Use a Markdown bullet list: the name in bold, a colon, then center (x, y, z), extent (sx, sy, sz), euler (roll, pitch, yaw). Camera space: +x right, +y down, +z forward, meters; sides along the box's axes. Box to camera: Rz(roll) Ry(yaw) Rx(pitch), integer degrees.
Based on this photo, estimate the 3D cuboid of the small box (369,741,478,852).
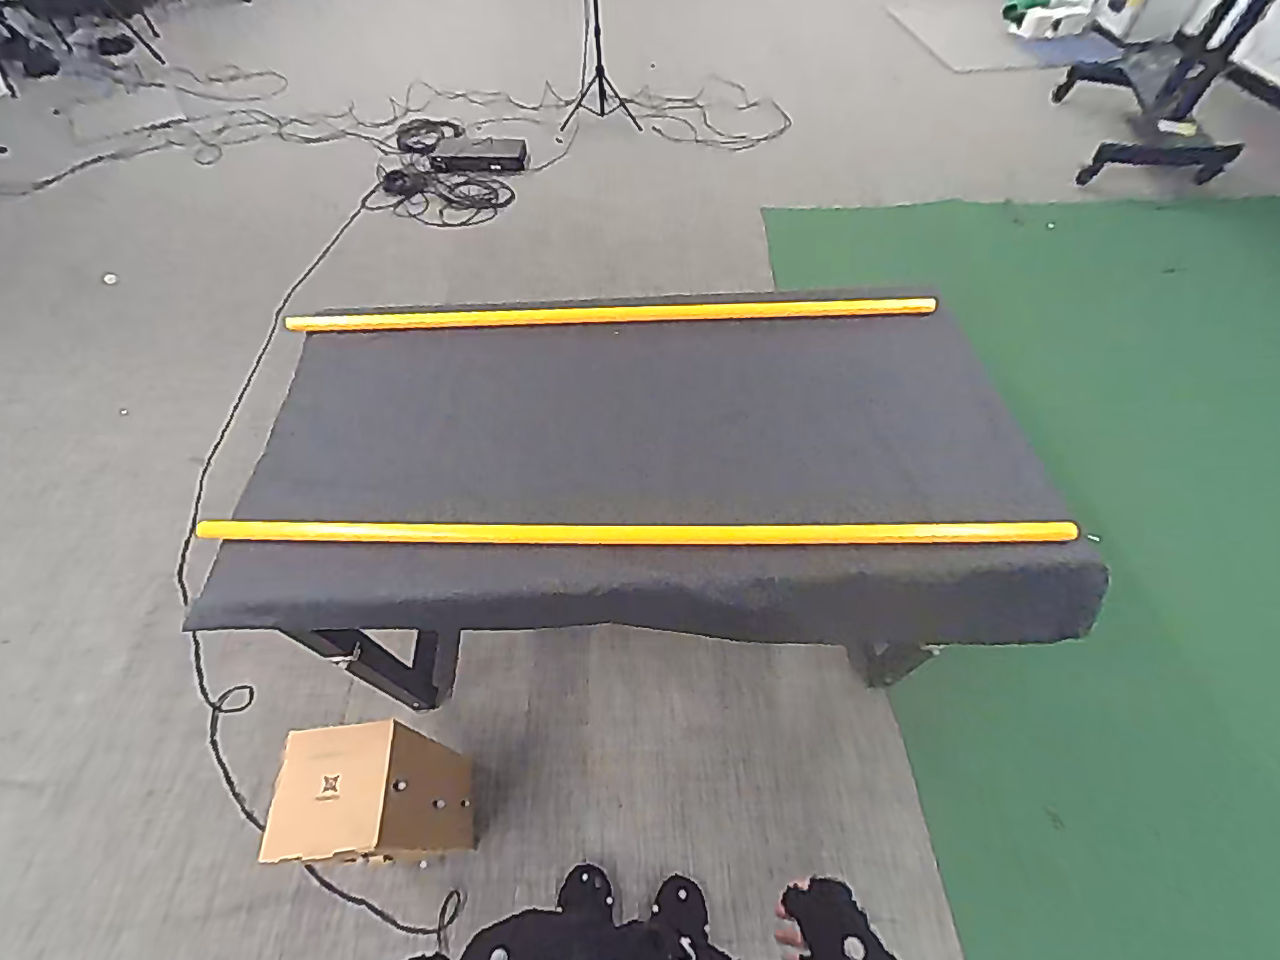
- **small box**: center (-0.449, 0.675, 1.150), extent (0.168, 0.176, 0.179), euler (-8, 57, -4)
